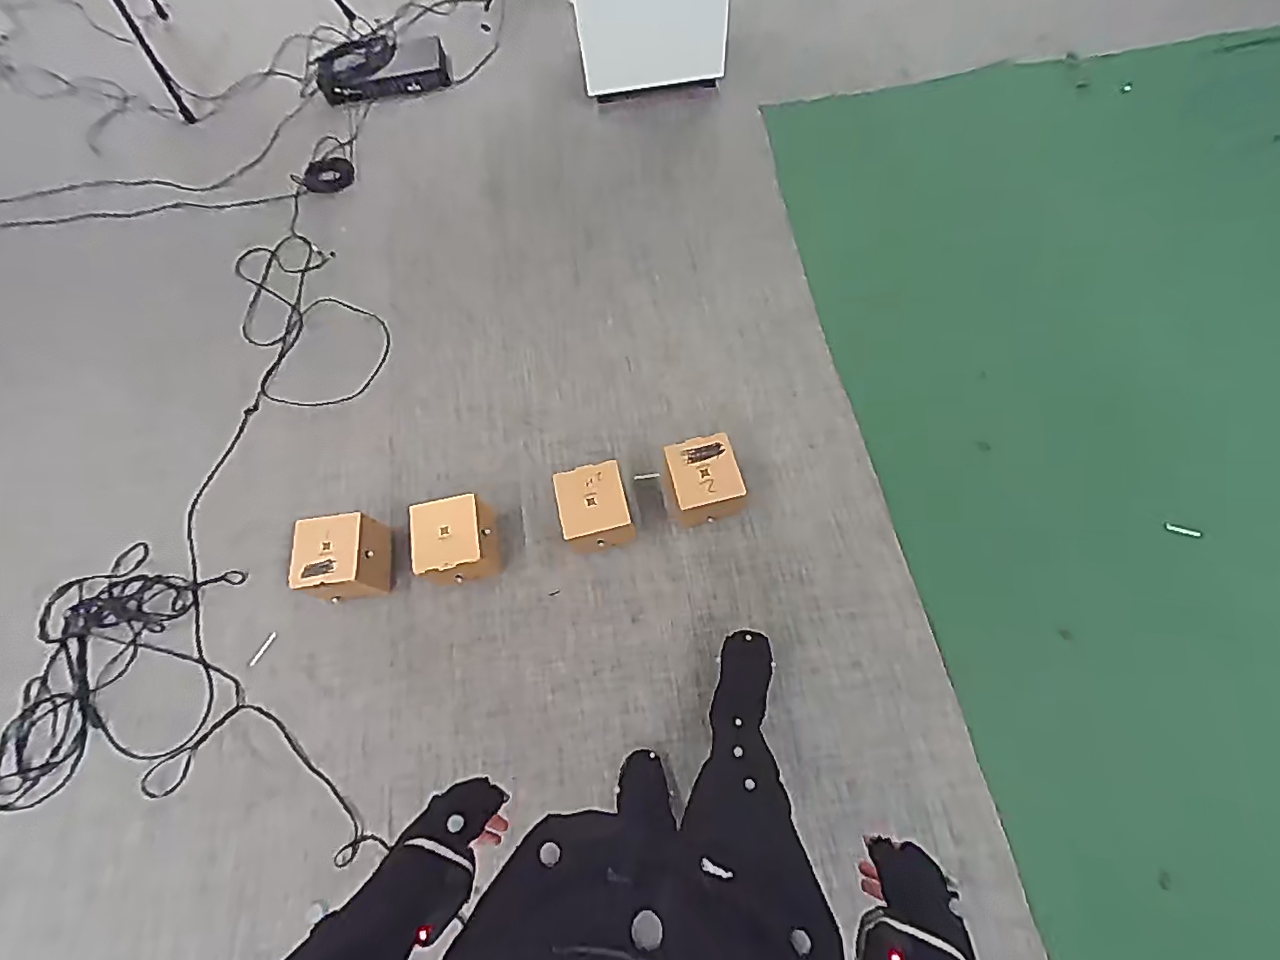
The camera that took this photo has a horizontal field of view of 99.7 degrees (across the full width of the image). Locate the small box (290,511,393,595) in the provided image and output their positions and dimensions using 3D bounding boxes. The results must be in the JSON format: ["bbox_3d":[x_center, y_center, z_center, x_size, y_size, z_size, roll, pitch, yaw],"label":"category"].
[{"bbox_3d":[-0.757,0.193,1.389,0.168,0.176,0.179,-7,68,1],"label":"small box"}]

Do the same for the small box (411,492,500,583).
[{"bbox_3d":[-0.469,0.151,1.389,0.168,0.176,0.179,-12,70,-1],"label":"small box"}]

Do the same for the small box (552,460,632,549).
[{"bbox_3d":[-0.118,0.072,1.396,0.168,0.176,0.179,-13,69,-2],"label":"small box"}]
